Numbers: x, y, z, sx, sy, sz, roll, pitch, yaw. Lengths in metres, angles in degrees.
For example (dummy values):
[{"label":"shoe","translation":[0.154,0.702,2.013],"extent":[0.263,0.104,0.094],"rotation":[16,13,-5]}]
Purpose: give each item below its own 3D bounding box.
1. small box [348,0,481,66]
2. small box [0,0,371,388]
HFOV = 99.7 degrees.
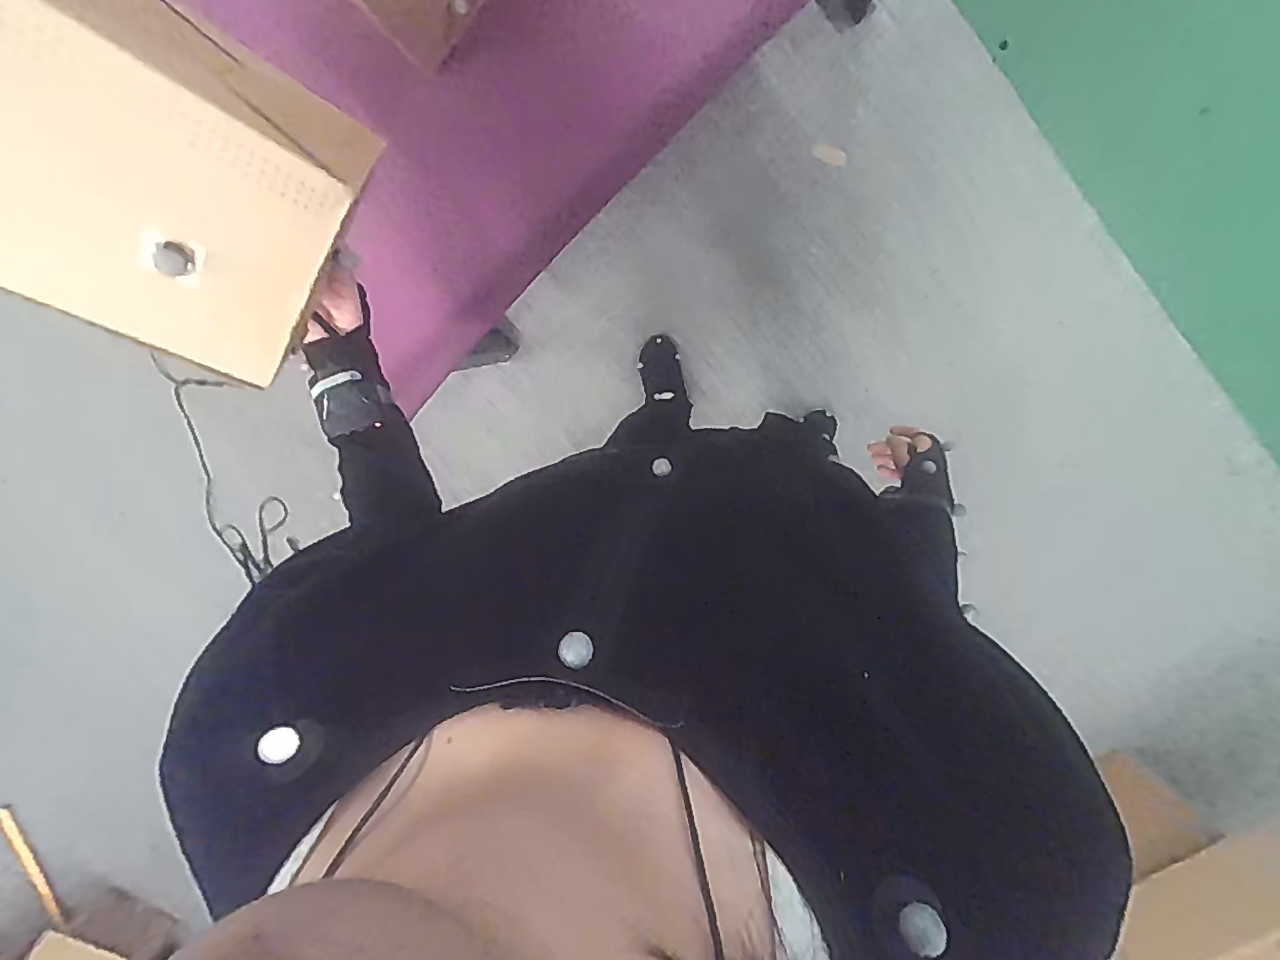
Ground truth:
[{"label":"small box","translation":[-0.267,-0.577,0.540],"extent":[0.179,0.176,0.168],"rotation":[44,103,-9]},{"label":"small box","translation":[-0.300,-0.200,0.362],"extent":[0.179,0.168,0.176],"rotation":[24,120,-34]}]
